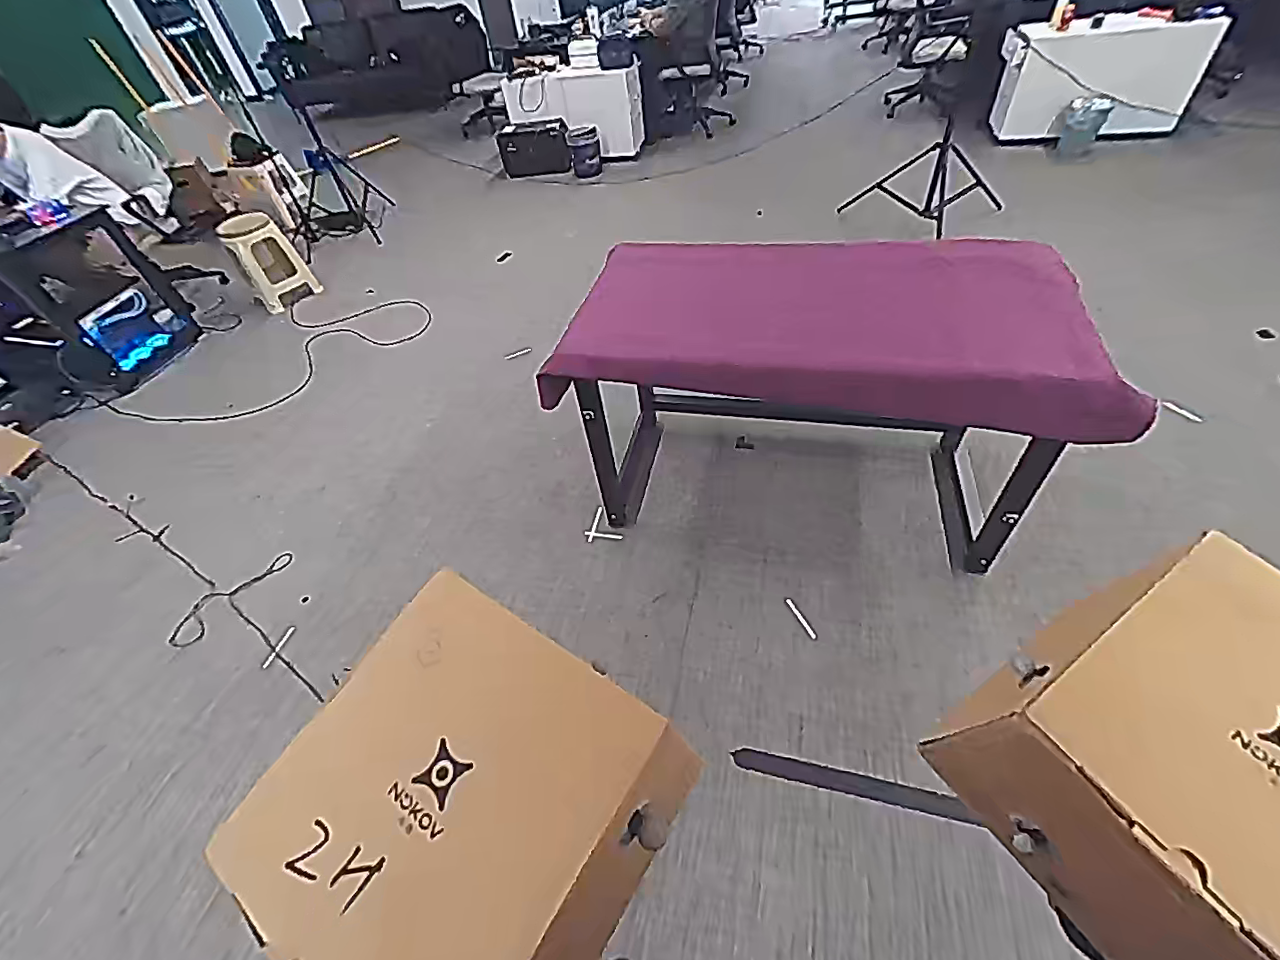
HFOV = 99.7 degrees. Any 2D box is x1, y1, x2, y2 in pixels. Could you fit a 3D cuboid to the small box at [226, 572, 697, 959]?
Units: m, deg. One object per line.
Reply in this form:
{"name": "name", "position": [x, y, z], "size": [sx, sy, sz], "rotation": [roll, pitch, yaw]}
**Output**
{"name": "small box", "position": [-0.077, 0.192, 0.327], "size": [0.168, 0.176, 0.179], "rotation": [25, 66, 27]}

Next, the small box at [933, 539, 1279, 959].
{"name": "small box", "position": [0.323, 0.173, 0.333], "size": [0.179, 0.176, 0.168], "rotation": [-34, 61, -13]}
